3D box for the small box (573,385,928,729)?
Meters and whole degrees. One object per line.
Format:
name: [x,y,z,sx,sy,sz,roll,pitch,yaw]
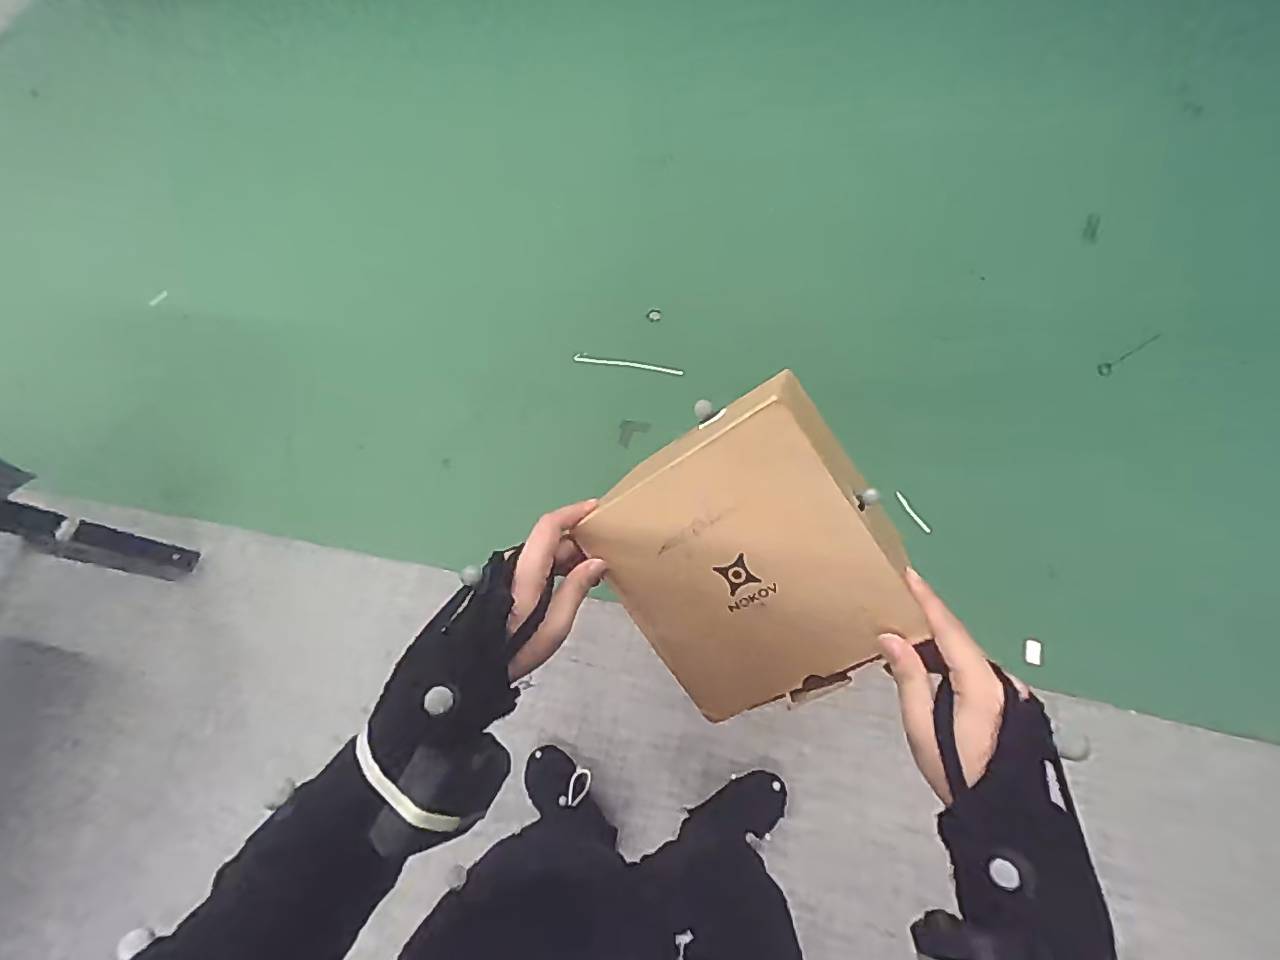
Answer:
small box: [0.086,0.045,0.420,0.168,0.176,0.179,-34,94,22]
